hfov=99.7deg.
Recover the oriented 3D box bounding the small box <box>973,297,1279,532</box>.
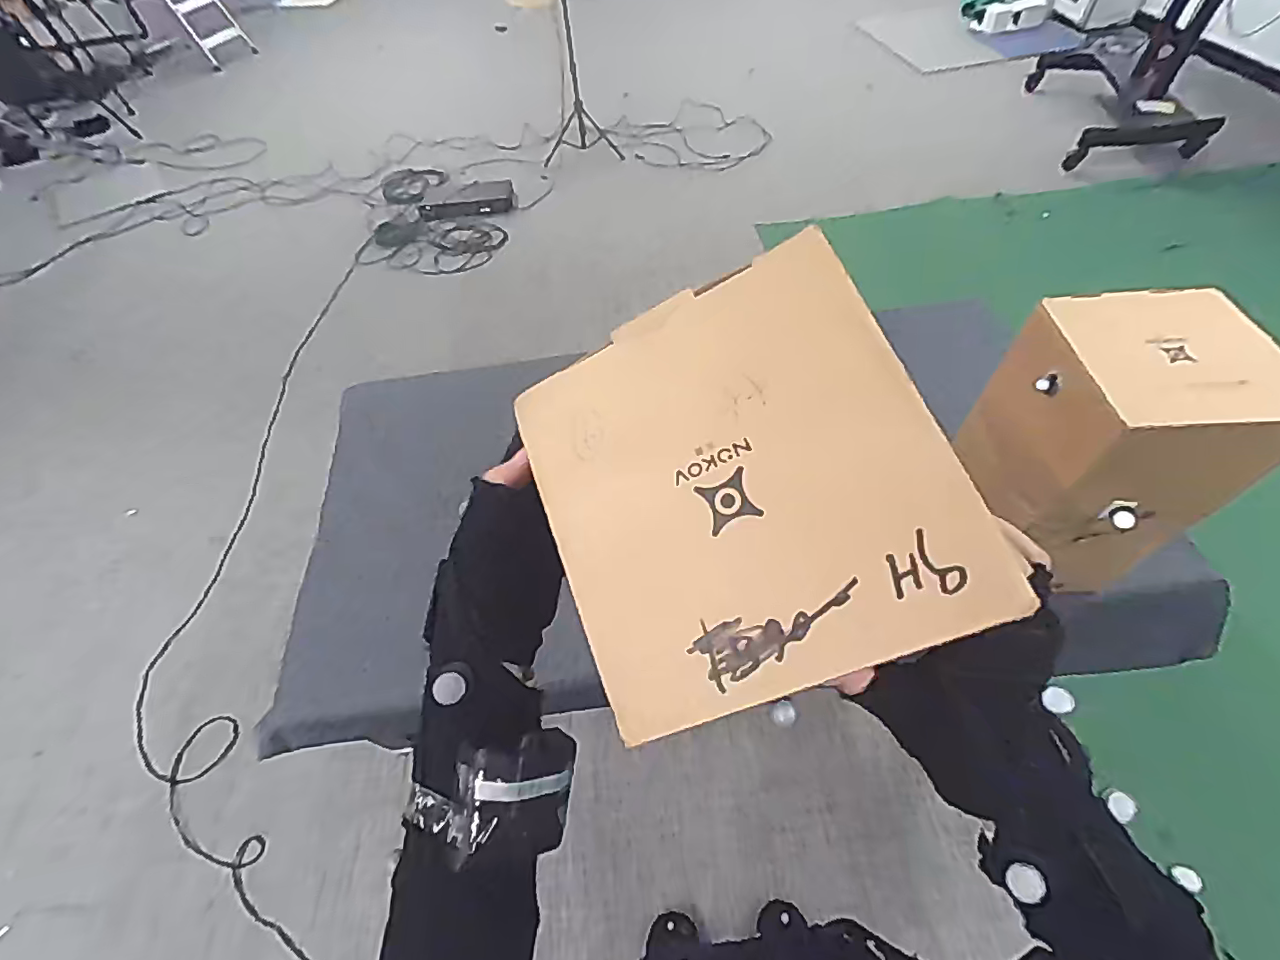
[{"bbox_3d":[0.482,-0.063,0.559,0.168,0.176,0.179,-2,55,5],"label":"small box"}]

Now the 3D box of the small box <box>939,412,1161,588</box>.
[{"bbox_3d":[0.496,0.029,0.691,0.168,0.176,0.179,-2,53,4],"label":"small box"}]

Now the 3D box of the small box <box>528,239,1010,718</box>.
[{"bbox_3d":[0.066,0.012,0.314,0.168,0.176,0.179,-25,71,17],"label":"small box"}]
